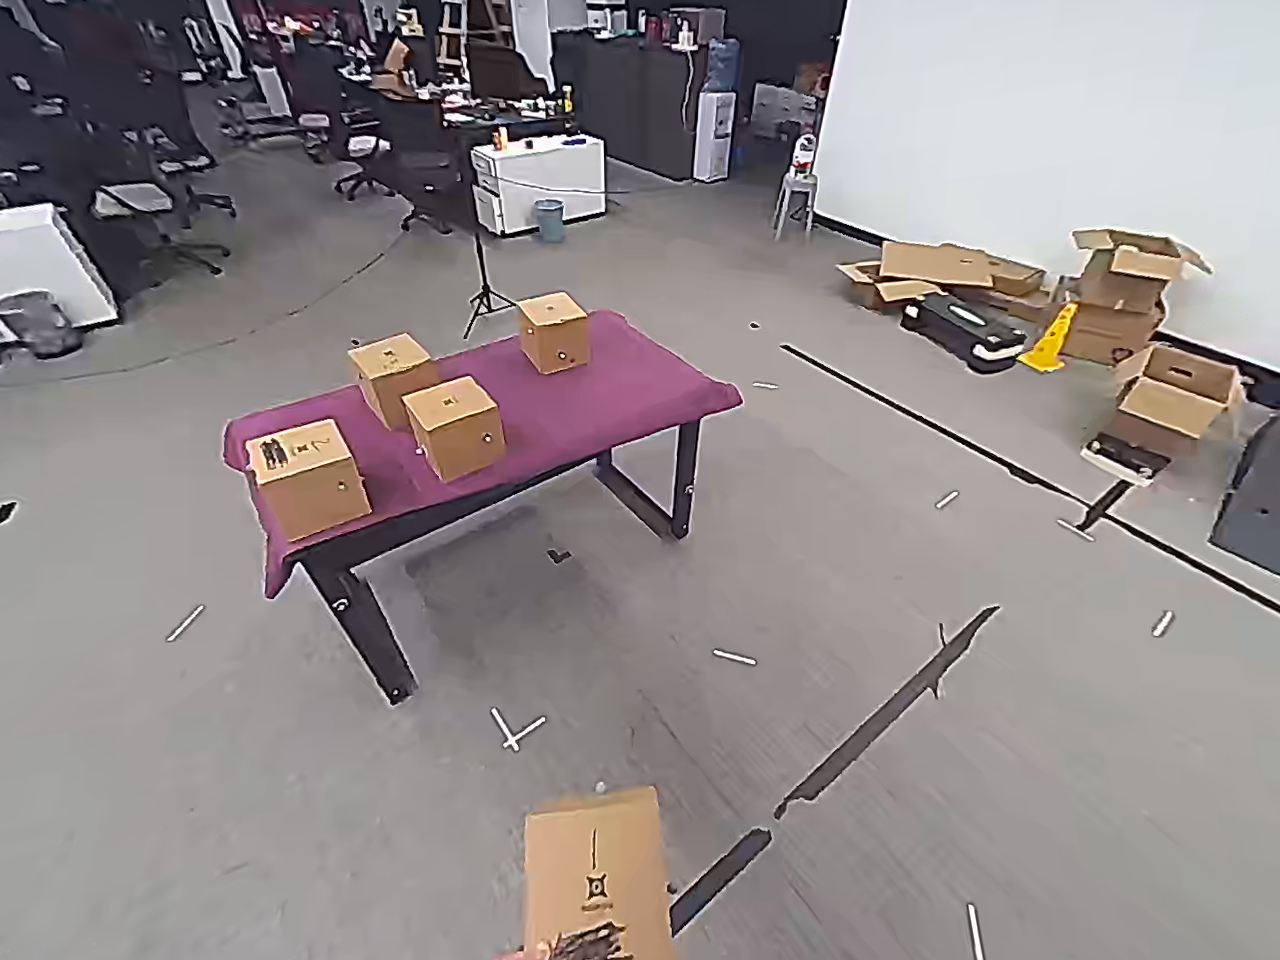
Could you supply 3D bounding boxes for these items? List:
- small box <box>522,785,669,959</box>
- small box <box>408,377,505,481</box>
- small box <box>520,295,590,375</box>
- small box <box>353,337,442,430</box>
[{"bbox_3d":[-0.055,0.505,0.693,0.168,0.176,0.179,-5,64,-3],"label":"small box"},{"bbox_3d":[-0.450,-0.127,1.350,0.179,0.176,0.168,-25,49,-27],"label":"small box"},{"bbox_3d":[-0.268,-0.460,1.717,0.168,0.176,0.179,-21,49,-22],"label":"small box"},{"bbox_3d":[-0.661,-0.268,1.499,0.168,0.176,0.179,-29,51,-28],"label":"small box"}]
